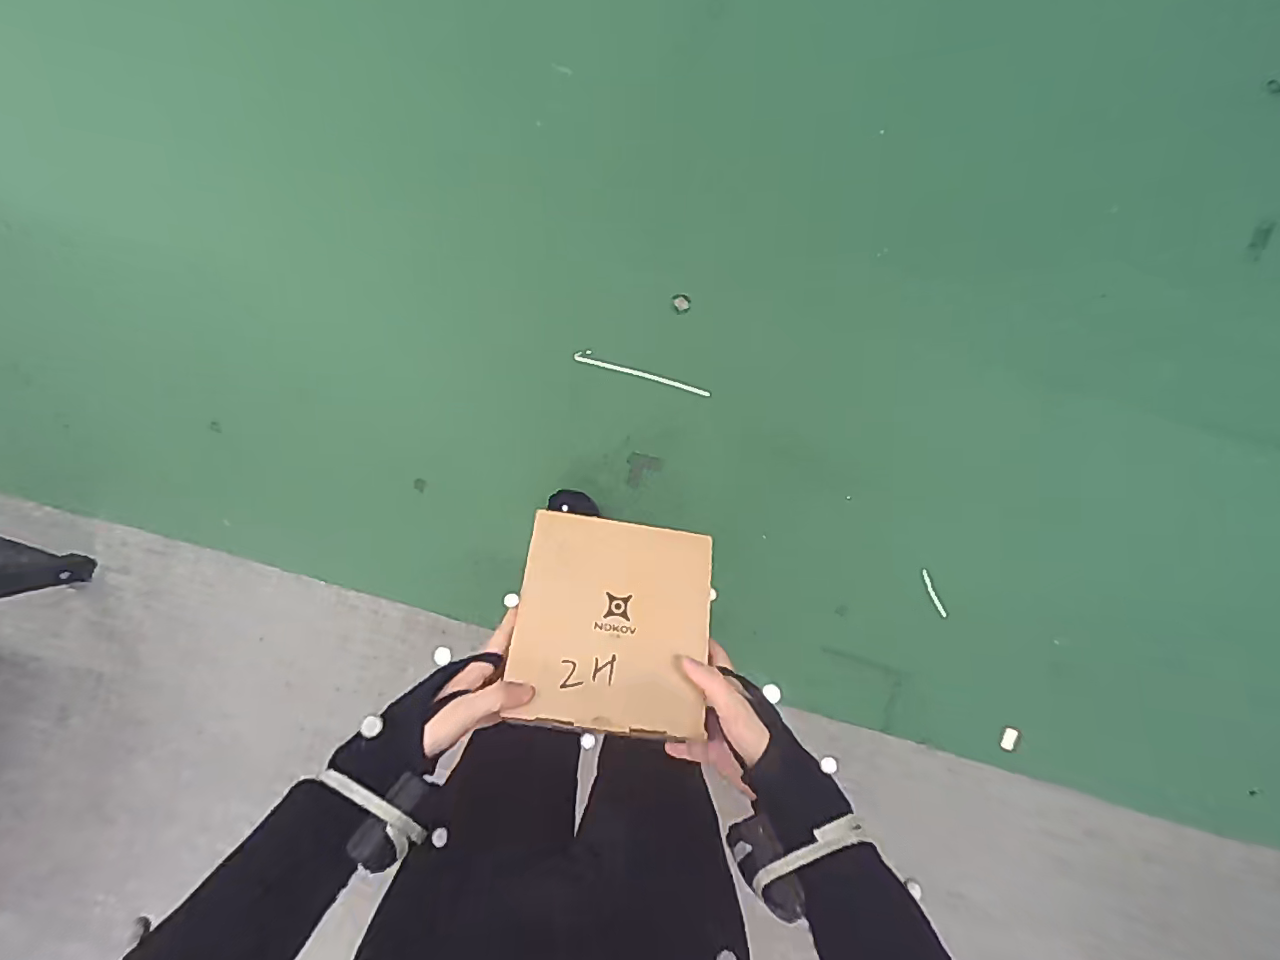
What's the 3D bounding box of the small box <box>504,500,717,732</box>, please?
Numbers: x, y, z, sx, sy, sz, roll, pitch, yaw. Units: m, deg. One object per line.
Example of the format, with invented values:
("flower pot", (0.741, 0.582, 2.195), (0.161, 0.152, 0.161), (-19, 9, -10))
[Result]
("small box", (-0.031, 0.143, 0.534), (0.168, 0.176, 0.179), (10, 65, -6))
